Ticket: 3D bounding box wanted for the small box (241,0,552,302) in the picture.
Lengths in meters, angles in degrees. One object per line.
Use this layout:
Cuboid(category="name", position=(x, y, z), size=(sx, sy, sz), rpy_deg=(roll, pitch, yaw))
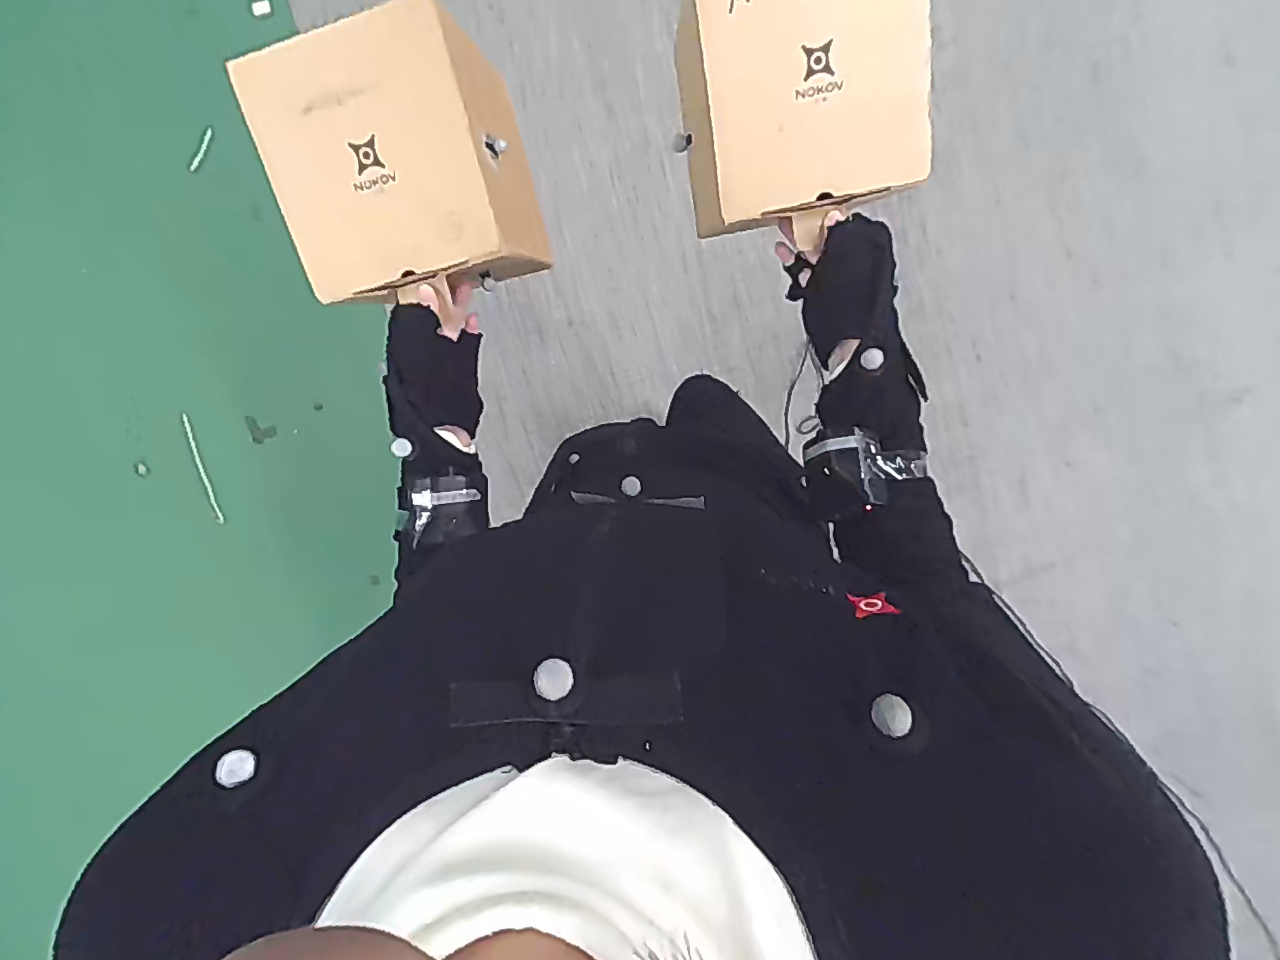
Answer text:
Cuboid(category="small box", position=(-0.195, -0.271, 0.494), size=(0.168, 0.176, 0.179), rpy_deg=(-13, 105, 10))
